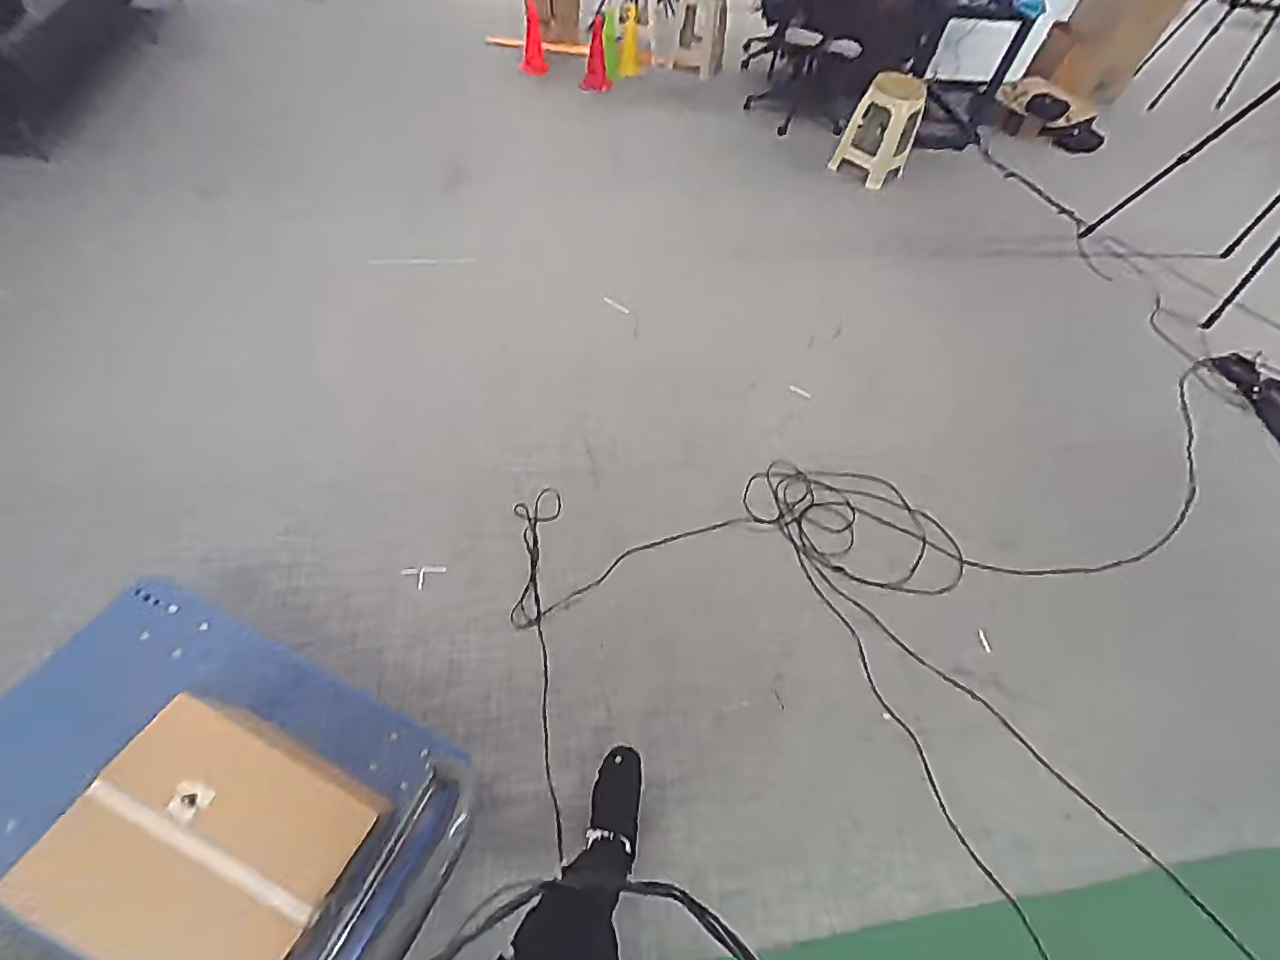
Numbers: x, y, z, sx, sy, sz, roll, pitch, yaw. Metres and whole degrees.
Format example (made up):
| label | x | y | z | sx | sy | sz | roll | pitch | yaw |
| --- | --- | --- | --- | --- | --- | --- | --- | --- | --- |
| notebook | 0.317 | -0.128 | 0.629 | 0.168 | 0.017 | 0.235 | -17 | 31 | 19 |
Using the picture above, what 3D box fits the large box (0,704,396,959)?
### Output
| label | x | y | z | sx | sy | sz | roll | pitch | yaw |
| --- | --- | --- | --- | --- | --- | --- | --- | --- | --- |
| large box | -0.721 | 0.662 | 0.973 | 0.408 | 0.320 | 0.320 | 31 | 56 | 0 |
